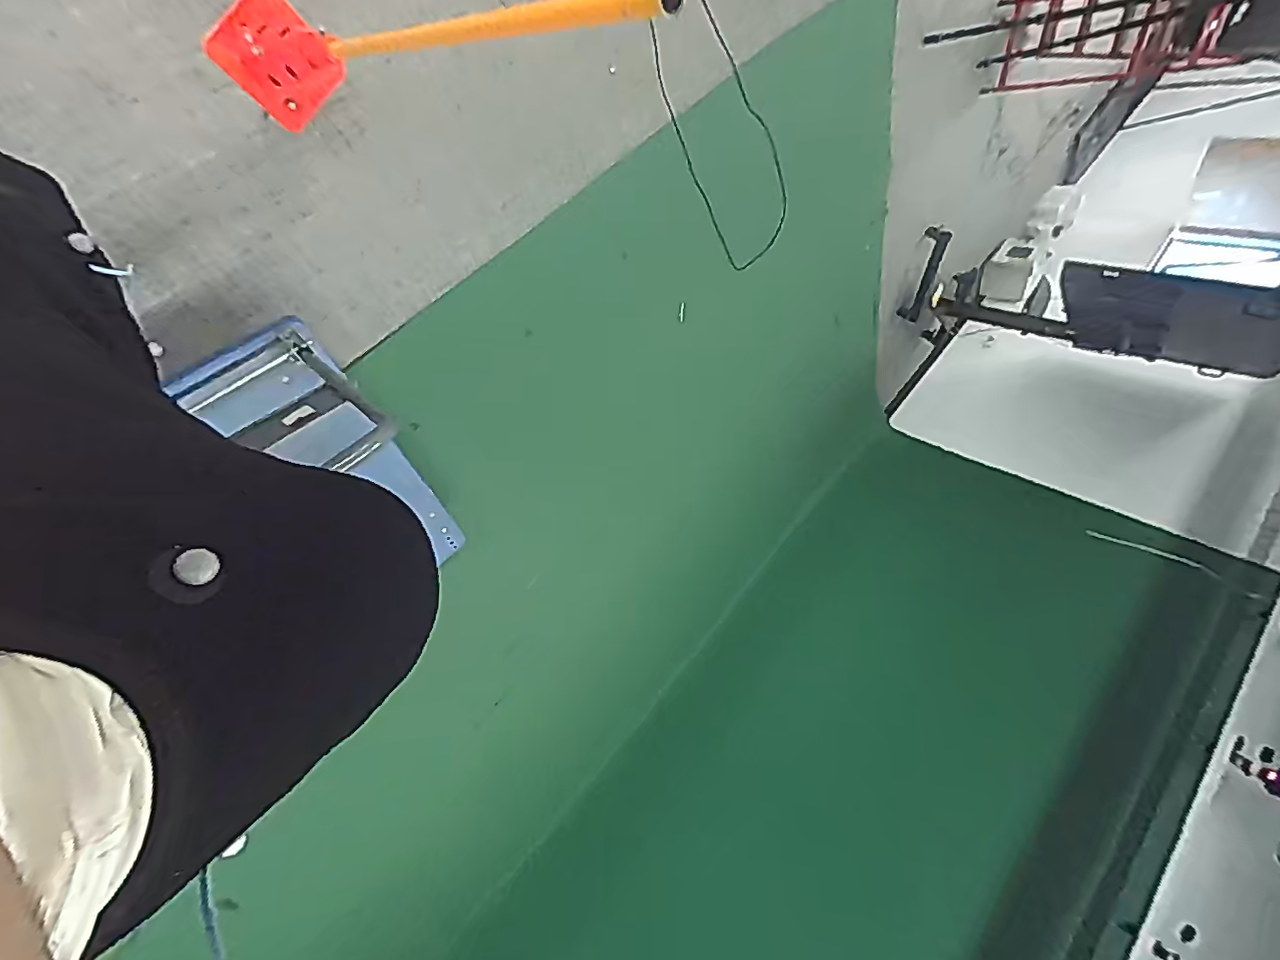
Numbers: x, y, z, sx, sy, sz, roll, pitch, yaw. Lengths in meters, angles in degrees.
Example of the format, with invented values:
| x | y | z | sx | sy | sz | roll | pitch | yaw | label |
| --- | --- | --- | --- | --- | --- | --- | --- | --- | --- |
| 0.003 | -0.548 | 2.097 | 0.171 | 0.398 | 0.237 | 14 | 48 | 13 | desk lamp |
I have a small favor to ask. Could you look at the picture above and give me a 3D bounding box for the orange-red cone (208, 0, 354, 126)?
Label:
| x | y | z | sx | sy | sz | roll | pitch | yaw | label |
| --- | --- | --- | --- | --- | --- | --- | --- | --- | --- |
| -0.649 | -0.838 | 1.056 | 0.199 | 0.360 | 0.198 | -56 | 145 | -6 | orange-red cone |
